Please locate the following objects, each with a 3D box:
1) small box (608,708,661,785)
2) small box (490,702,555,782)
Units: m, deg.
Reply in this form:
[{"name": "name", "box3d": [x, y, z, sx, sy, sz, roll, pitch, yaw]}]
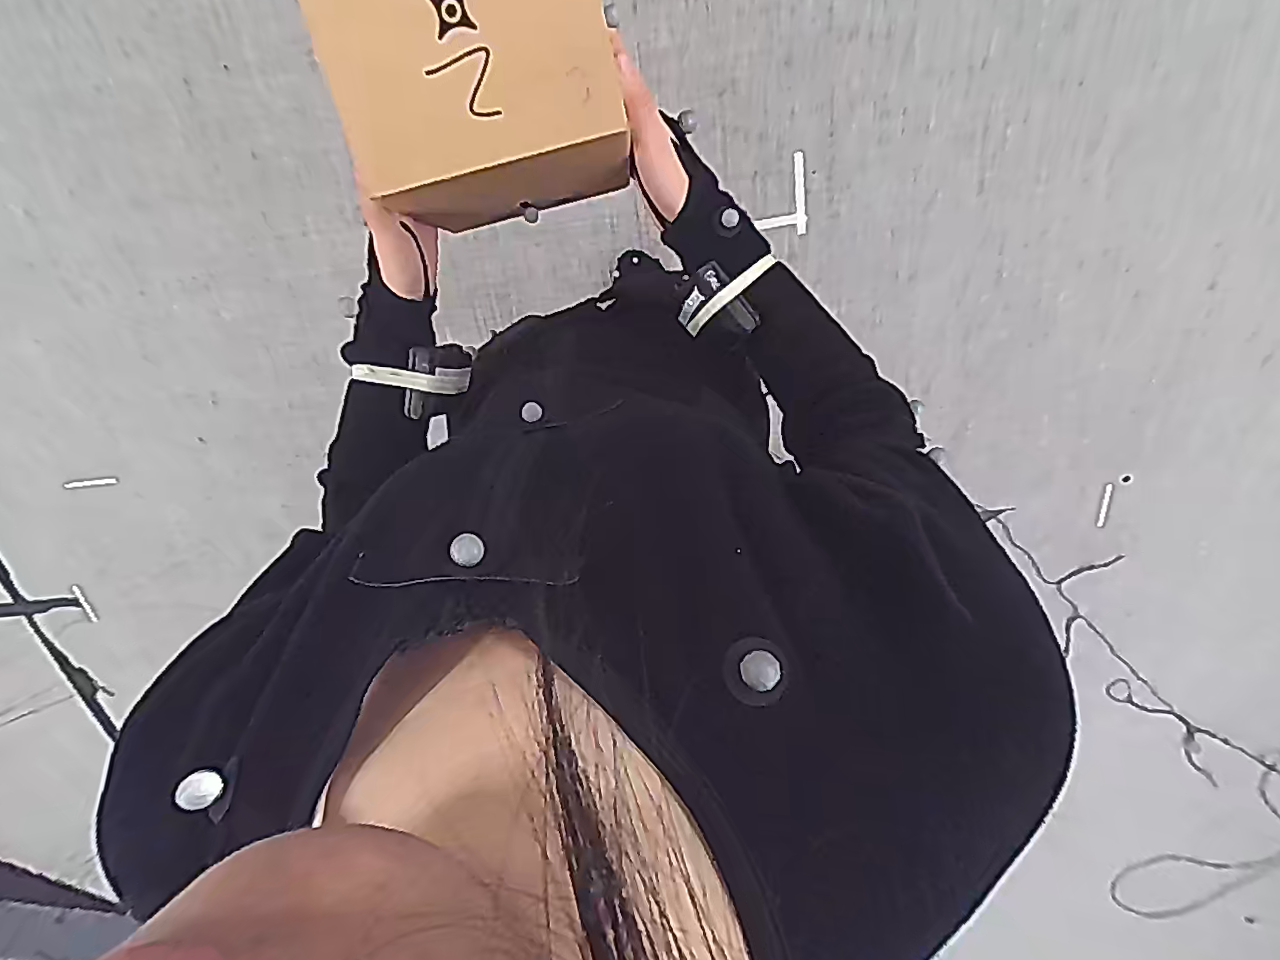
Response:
[{"name": "small box", "box3d": [-0.019, 0.896, 1.832, 0.168, 0.176, 0.179, -4, 114, 2]}, {"name": "small box", "box3d": [-0.391, 0.875, 1.817, 0.179, 0.176, 0.168, 9, 111, -6]}]
